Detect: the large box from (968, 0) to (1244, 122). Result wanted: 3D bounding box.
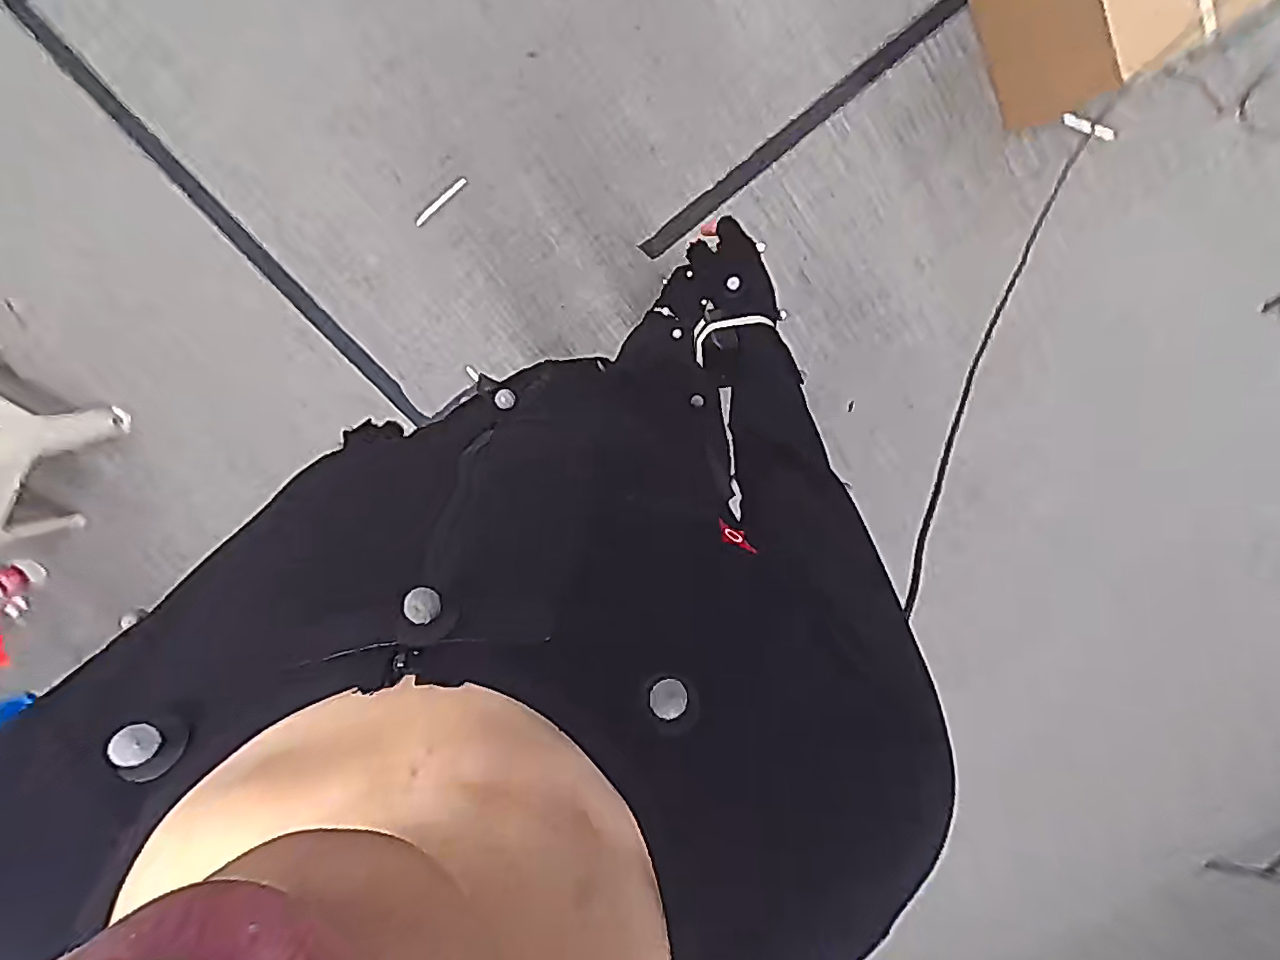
[{"bbox_3d":[0.906,-1.030,1.064,0.320,0.320,0.408,-31,108,8],"label":"large box"}]
